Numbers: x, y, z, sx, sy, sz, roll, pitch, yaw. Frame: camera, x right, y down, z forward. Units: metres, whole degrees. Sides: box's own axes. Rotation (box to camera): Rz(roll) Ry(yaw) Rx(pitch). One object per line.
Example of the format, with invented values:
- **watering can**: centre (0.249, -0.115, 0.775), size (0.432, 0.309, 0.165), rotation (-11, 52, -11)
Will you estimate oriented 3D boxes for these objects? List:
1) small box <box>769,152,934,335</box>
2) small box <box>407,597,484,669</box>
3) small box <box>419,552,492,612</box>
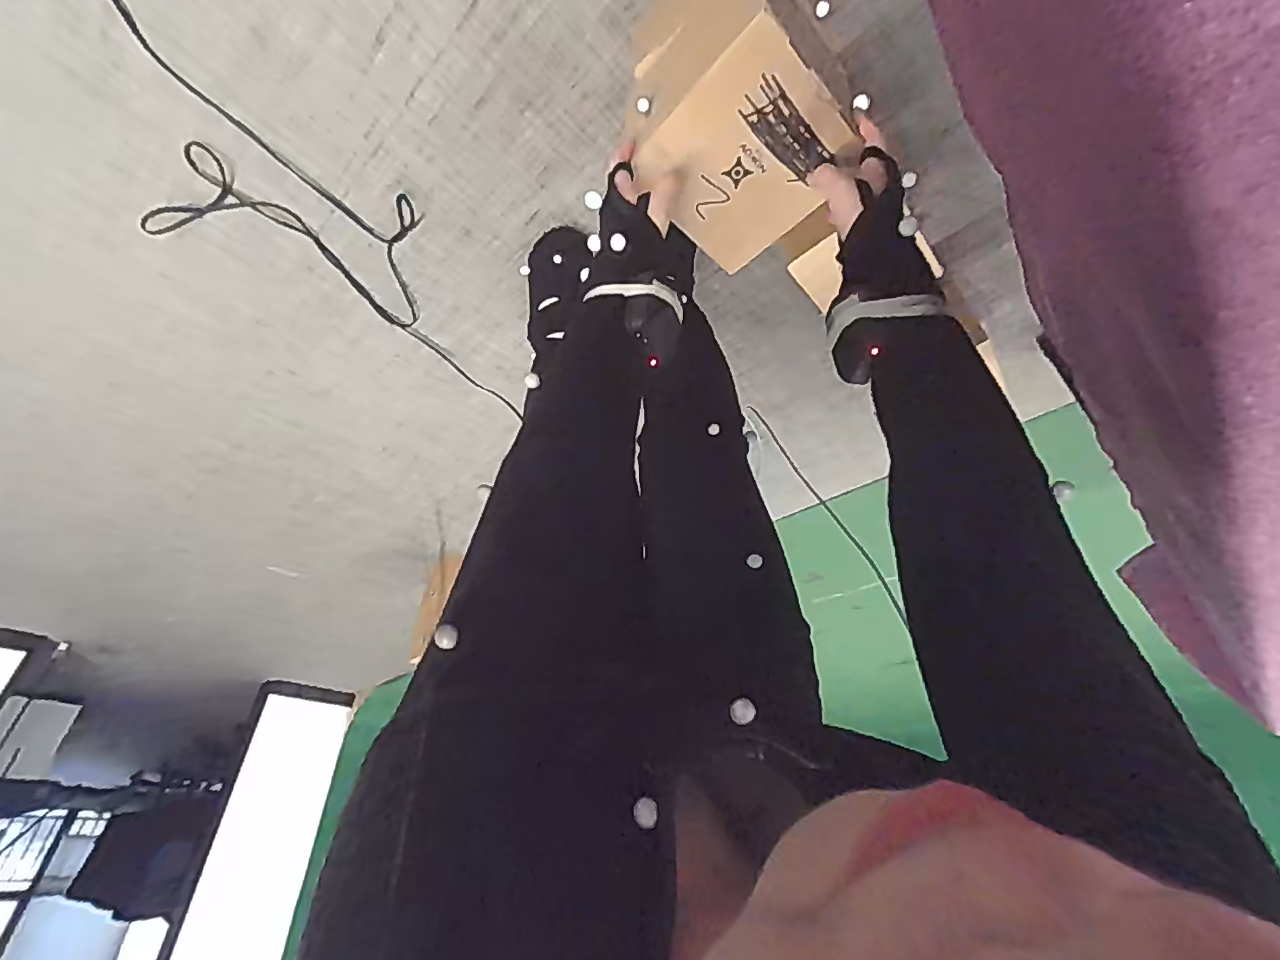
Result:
- **small box**: centre (0.321, -0.373, 0.845), size (0.168, 0.176, 0.179), rotation (-29, 134, 35)
- **small box**: centre (-0.630, 0.501, 1.772), size (0.179, 0.176, 0.168), rotation (-30, 133, 35)
- **small box**: centre (-0.632, 0.368, 1.869), size (0.179, 0.176, 0.168), rotation (-28, 135, 34)
